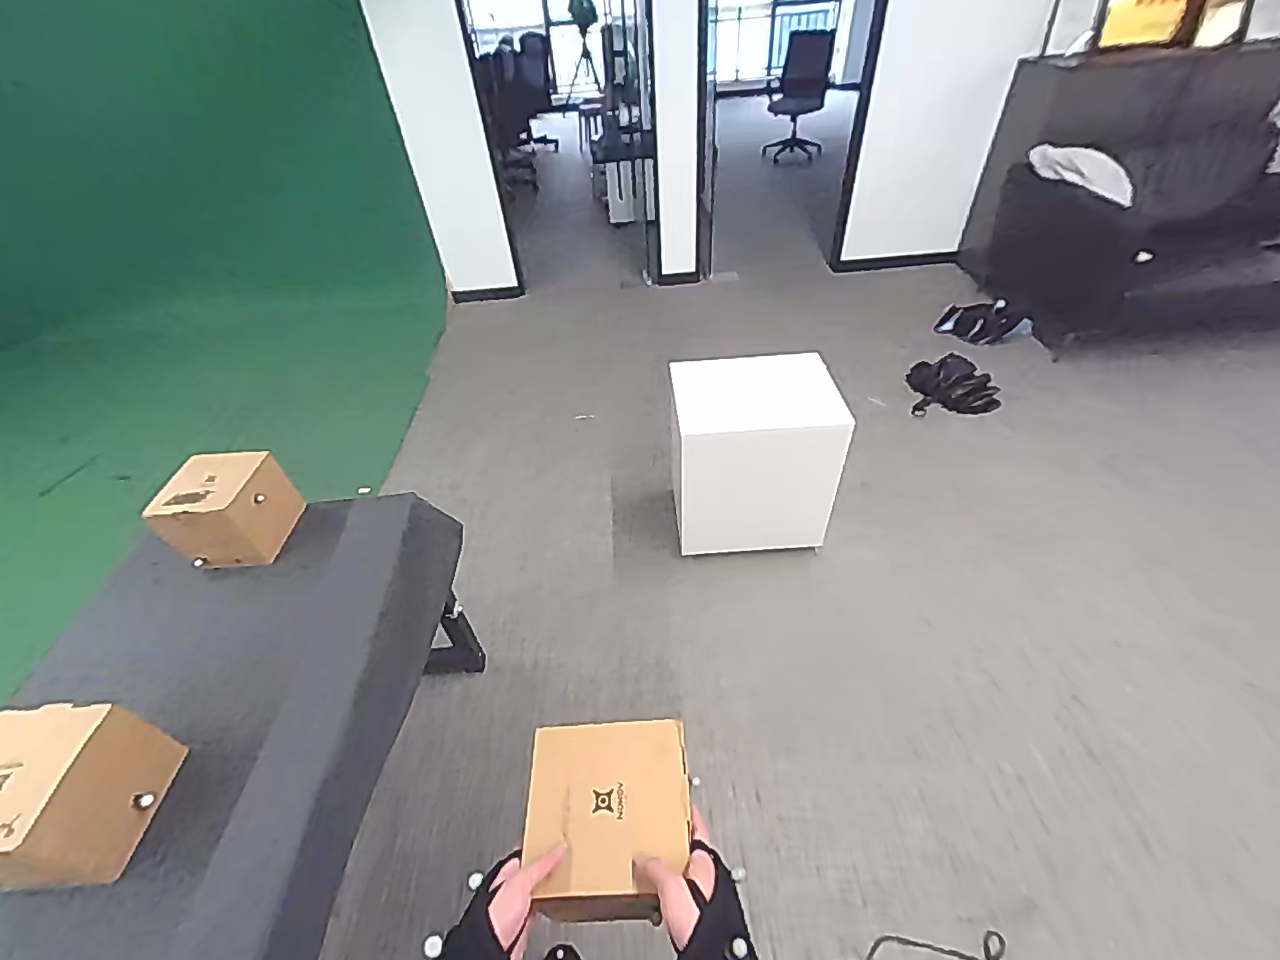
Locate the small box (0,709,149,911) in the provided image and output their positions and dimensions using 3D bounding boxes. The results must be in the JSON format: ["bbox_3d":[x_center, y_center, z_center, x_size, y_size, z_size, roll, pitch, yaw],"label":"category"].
[{"bbox_3d":[-0.787,0.417,0.683,0.168,0.176,0.179,-3,42,-2],"label":"small box"}]

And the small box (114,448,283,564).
[{"bbox_3d":[-0.857,0.056,1.077,0.168,0.176,0.179,-2,42,-1],"label":"small box"}]

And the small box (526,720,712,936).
[{"bbox_3d":[-0.018,0.394,0.612,0.179,0.176,0.168,-6,42,1],"label":"small box"}]
